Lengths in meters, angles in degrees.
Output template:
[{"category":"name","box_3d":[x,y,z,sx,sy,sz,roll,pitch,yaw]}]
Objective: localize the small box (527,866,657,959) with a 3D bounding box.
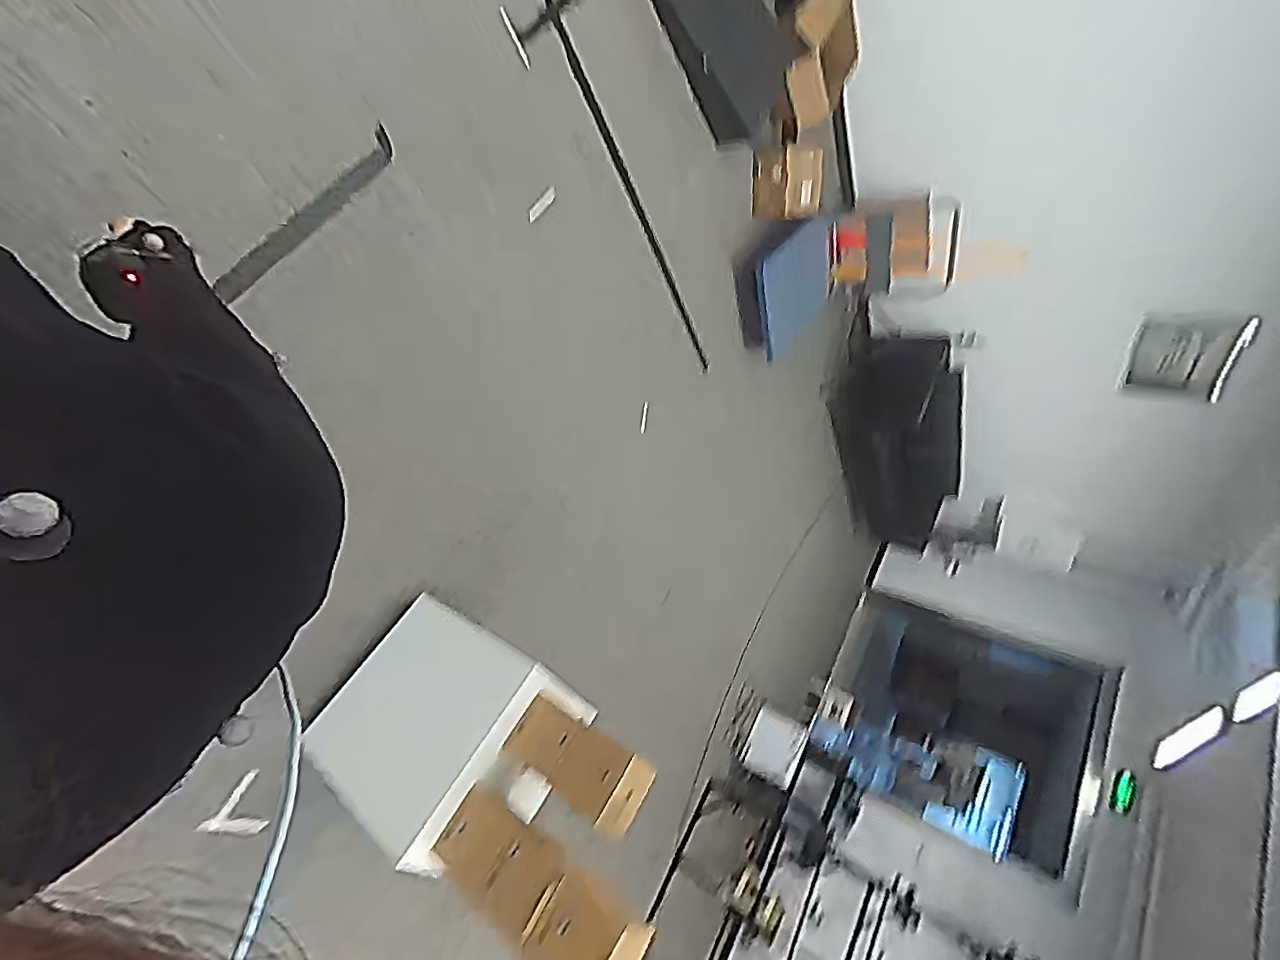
[{"category":"small box","box_3d":[-0.098,0.946,1.128,0.168,0.176,0.179,-56,140,-23]}]

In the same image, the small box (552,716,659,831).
[{"category":"small box","box_3d":[-0.085,0.716,1.332,0.179,0.176,0.168,-54,139,-25]}]

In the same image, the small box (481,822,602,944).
[{"category":"small box","box_3d":[-0.223,0.911,1.225,0.168,0.176,0.179,-56,141,-23]}]

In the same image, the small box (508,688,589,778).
[{"category":"small box","box_3d":[-0.213,0.683,1.433,0.168,0.176,0.179,-54,140,-25]}]
